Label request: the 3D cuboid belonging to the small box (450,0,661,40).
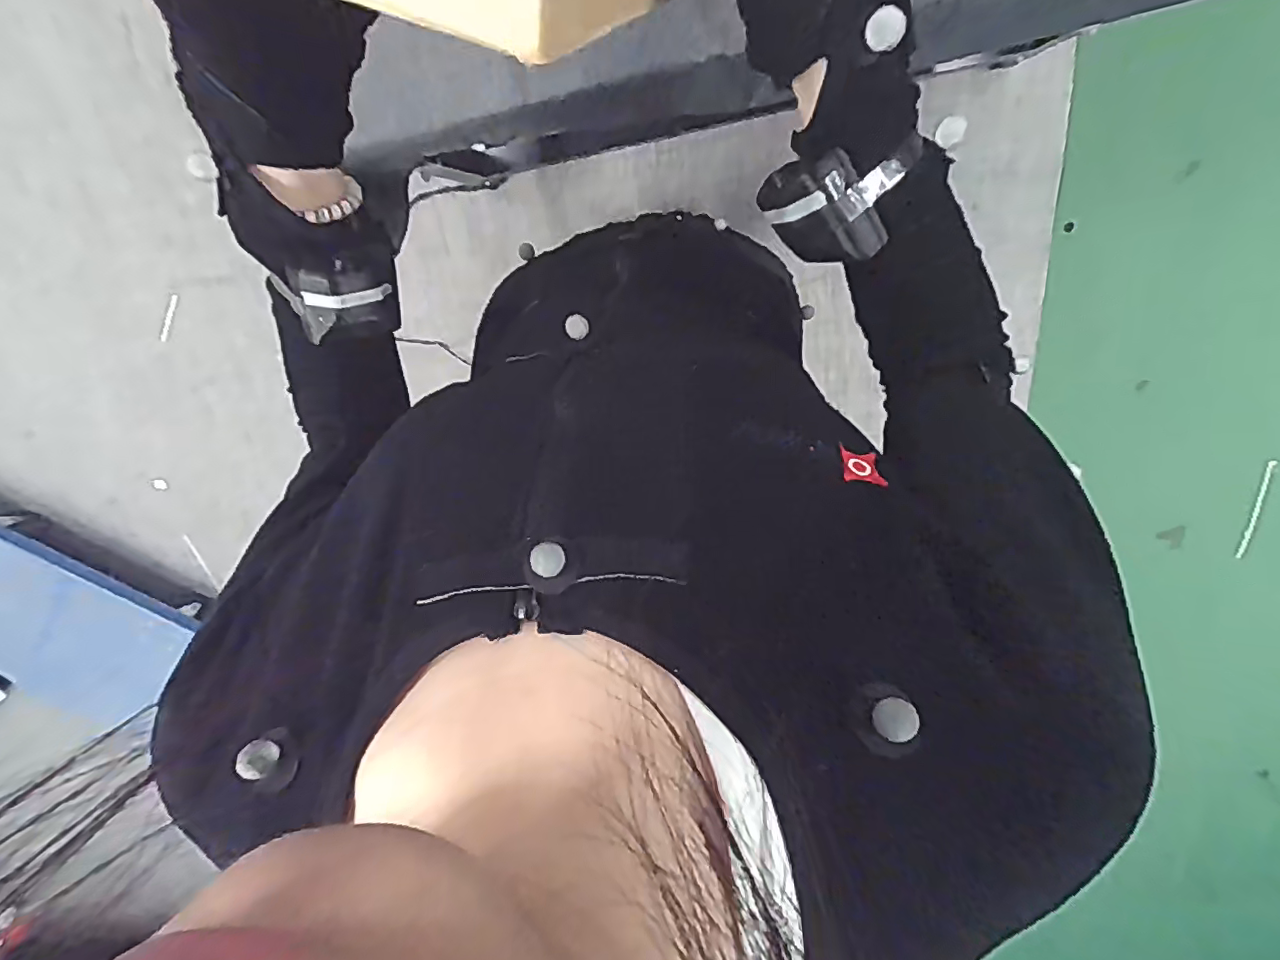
[{"bbox_3d":[-0.064,-0.292,0.190,0.176,0.179,0.168,21,142,5],"label":"small box"}]
